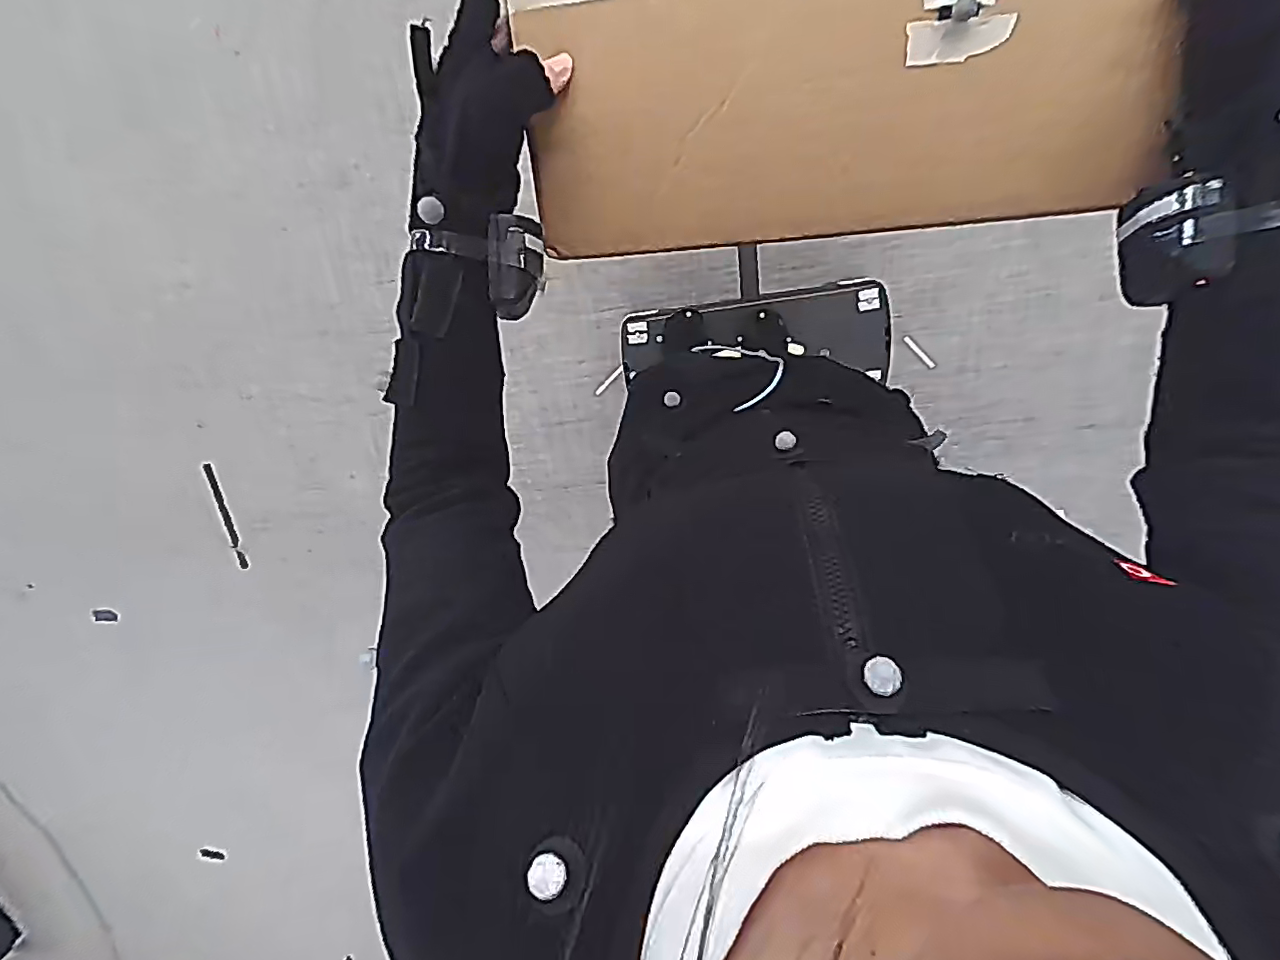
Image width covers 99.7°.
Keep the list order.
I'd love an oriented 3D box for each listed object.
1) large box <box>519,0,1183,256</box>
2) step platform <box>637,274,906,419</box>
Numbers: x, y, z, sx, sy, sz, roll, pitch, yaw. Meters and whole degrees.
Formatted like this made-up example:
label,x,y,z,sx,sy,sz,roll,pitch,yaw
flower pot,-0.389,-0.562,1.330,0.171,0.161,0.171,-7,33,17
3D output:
label,x,y,z,sx,sy,sz,roll,pitch,yaw
large box,0.131,-0.381,0.456,0.408,0.320,0.320,-2,115,8
step platform,0.333,-0.350,1.444,0.684,0.204,0.286,-7,108,8
